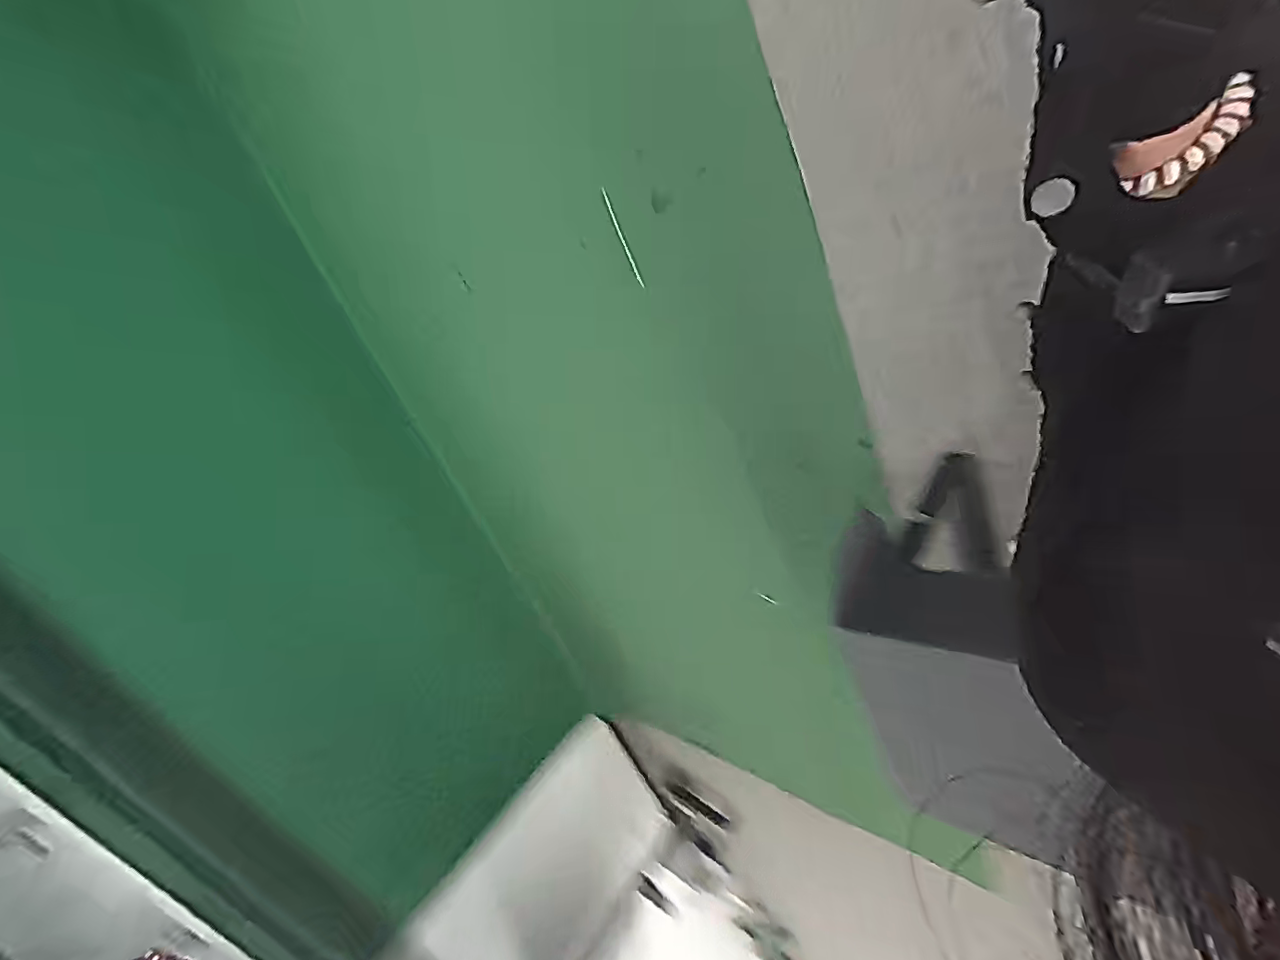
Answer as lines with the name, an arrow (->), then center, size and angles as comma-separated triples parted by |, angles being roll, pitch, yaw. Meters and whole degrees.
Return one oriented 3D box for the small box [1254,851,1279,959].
small box -> 0.965, 0.663, 0.733 | 0.168, 0.176, 0.179 | 1, 123, 46
